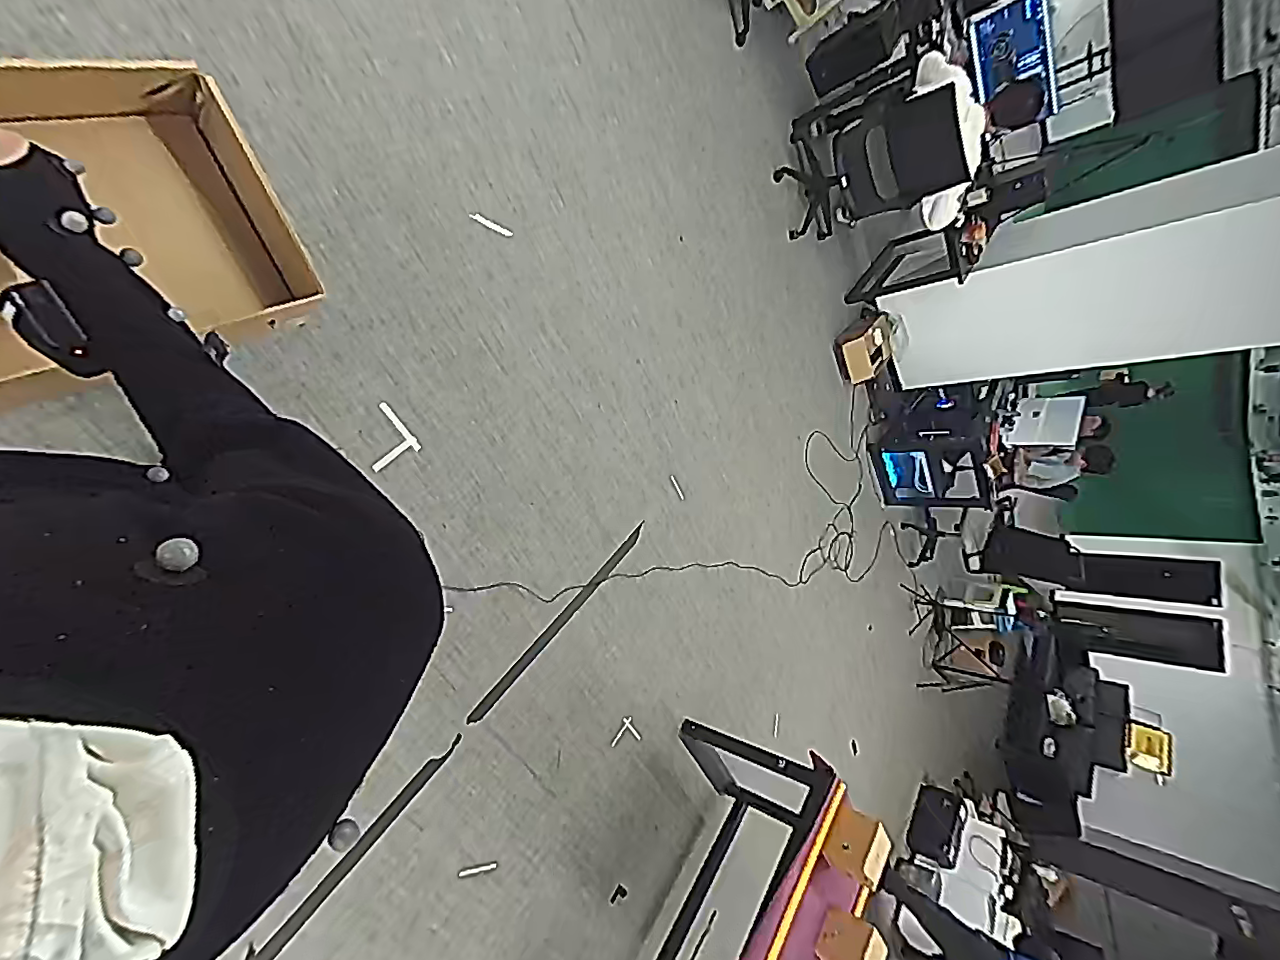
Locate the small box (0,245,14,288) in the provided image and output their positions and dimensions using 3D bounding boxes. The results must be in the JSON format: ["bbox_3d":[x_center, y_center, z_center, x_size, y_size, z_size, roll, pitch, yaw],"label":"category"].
[{"bbox_3d":[-0.857,-0.312,0.598,0.168,0.176,0.179,-28,107,-41],"label":"small box"}]

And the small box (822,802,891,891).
[{"bbox_3d":[0.778,1.319,1.956,0.179,0.176,0.168,-46,120,-32],"label":"small box"}]

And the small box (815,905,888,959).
[{"bbox_3d":[0.753,1.675,1.928,0.168,0.176,0.179,-46,118,-35],"label":"small box"}]
